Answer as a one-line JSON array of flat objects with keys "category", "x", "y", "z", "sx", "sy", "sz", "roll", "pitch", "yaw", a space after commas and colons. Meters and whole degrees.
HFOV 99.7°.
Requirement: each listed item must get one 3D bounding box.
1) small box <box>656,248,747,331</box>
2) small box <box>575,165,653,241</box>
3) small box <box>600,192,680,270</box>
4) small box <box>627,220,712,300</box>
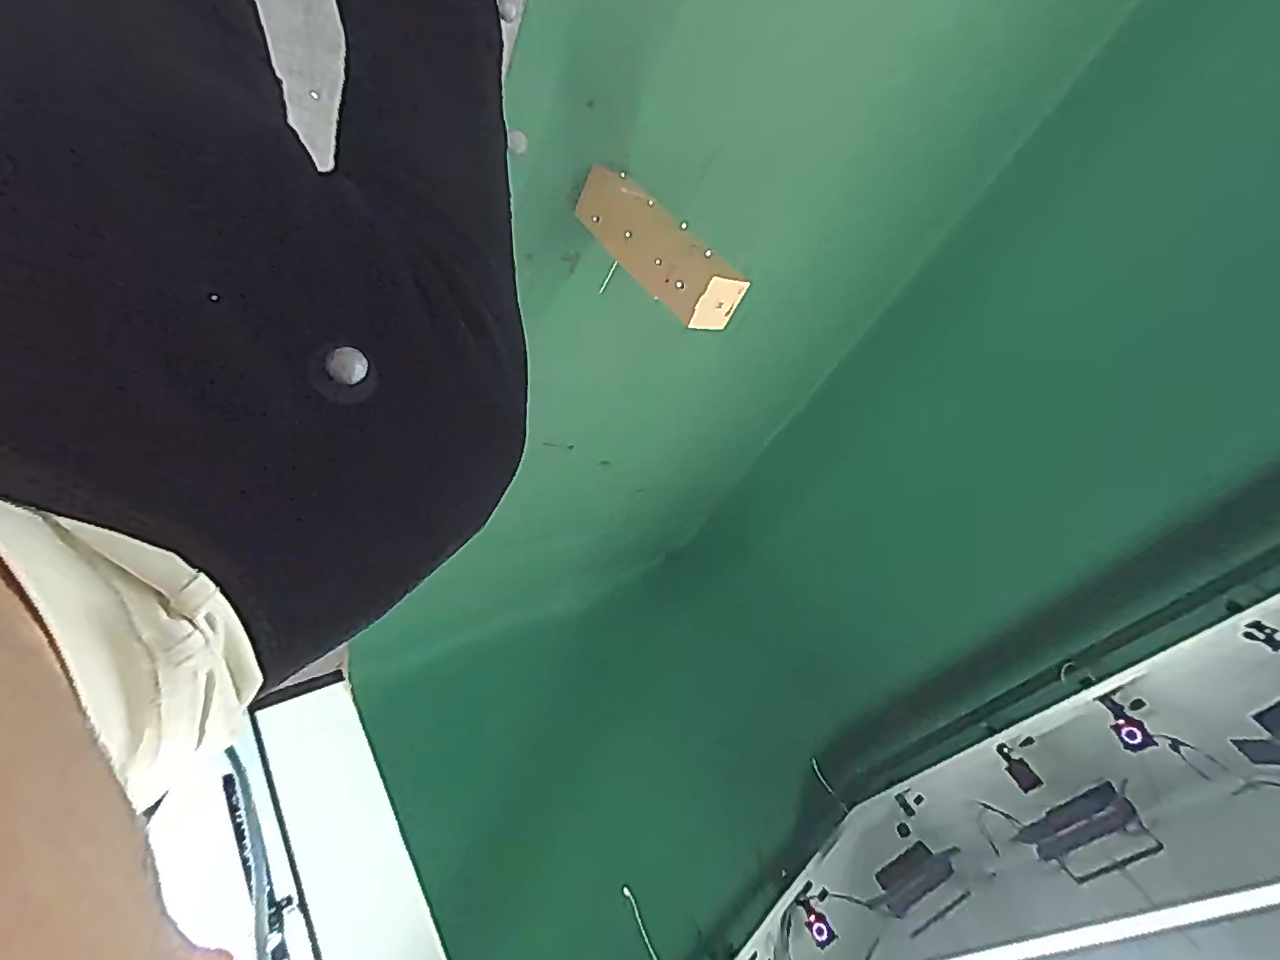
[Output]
[{"category": "small box", "x": 0.178, "y": -0.571, "z": 1.618, "sx": 0.179, "sy": 0.176, "sz": 0.168, "roll": -10, "pitch": 143, "yaw": -43}, {"category": "small box", "x": -0.096, "y": -0.920, "z": 1.827, "sx": 0.168, "sy": 0.176, "sz": 0.179, "roll": -9, "pitch": 142, "yaw": -45}, {"category": "small box", "x": -0.008, "y": -0.799, "z": 1.763, "sx": 0.168, "sy": 0.176, "sz": 0.179, "roll": -11, "pitch": 143, "yaw": -43}, {"category": "small box", "x": 0.084, "y": -0.683, "z": 1.692, "sx": 0.168, "sy": 0.176, "sz": 0.179, "roll": -12, "pitch": 145, "yaw": -41}]
